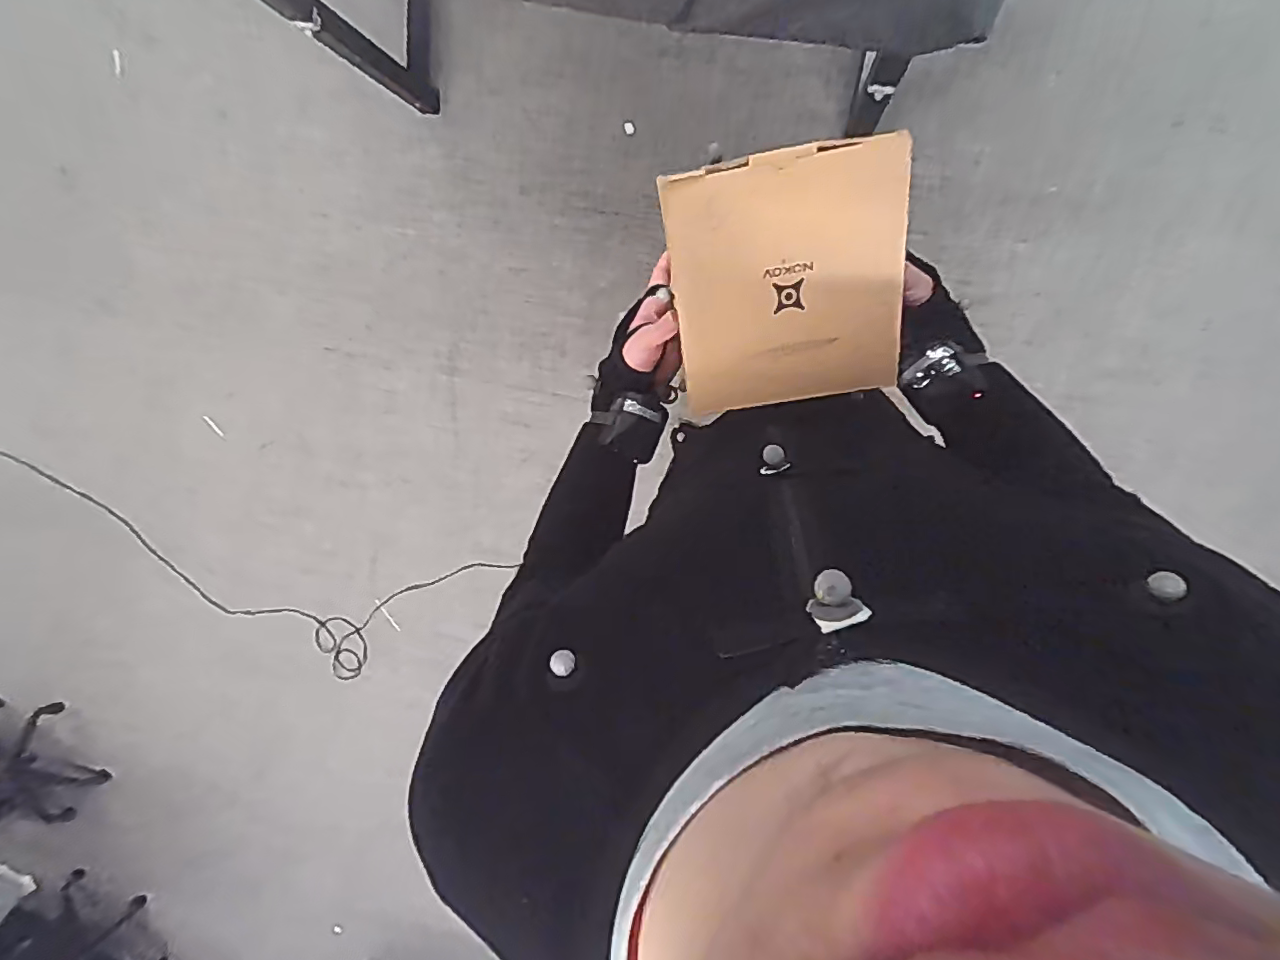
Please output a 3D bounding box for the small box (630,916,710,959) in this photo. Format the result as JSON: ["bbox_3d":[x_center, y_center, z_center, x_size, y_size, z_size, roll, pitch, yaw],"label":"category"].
[{"bbox_3d":[0.055,1.094,1.152,0.168,0.176,0.179,7,106,11],"label":"small box"}]

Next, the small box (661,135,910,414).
[{"bbox_3d":[0.109,-0.177,0.466,0.168,0.176,0.179,-7,120,6],"label":"small box"}]
